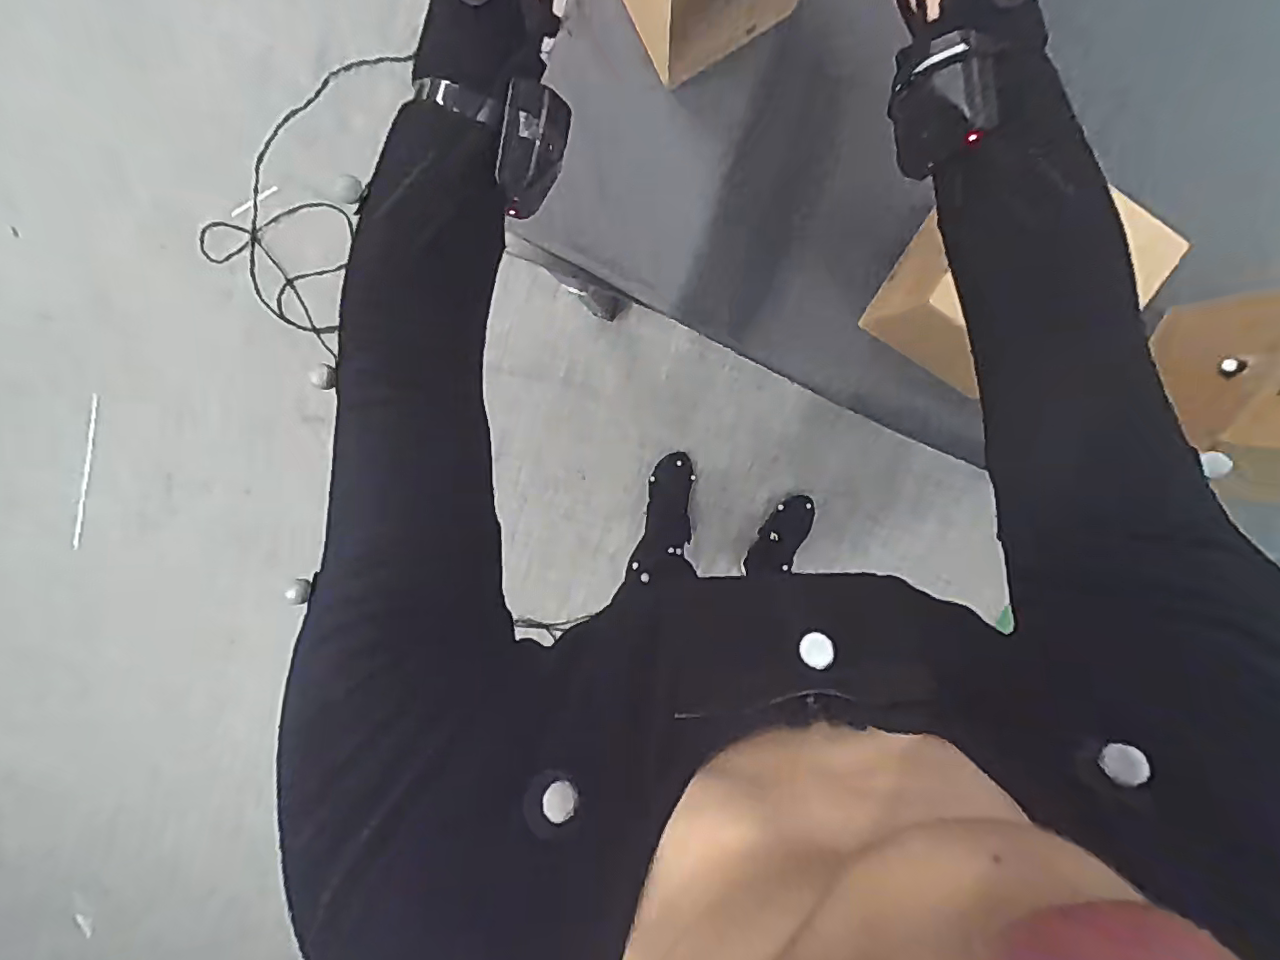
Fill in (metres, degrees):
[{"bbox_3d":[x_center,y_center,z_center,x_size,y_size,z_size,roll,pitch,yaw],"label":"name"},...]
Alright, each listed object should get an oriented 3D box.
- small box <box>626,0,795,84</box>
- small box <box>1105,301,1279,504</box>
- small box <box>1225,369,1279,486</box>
[{"bbox_3d":[0.058,-0.544,0.521,0.168,0.176,0.179,-28,98,7],"label":"small box"},{"bbox_3d":[0.666,-0.081,0.577,0.168,0.176,0.179,22,100,-1],"label":"small box"},{"bbox_3d":[0.653,-0.041,0.419,0.179,0.176,0.168,33,99,-2],"label":"small box"}]
